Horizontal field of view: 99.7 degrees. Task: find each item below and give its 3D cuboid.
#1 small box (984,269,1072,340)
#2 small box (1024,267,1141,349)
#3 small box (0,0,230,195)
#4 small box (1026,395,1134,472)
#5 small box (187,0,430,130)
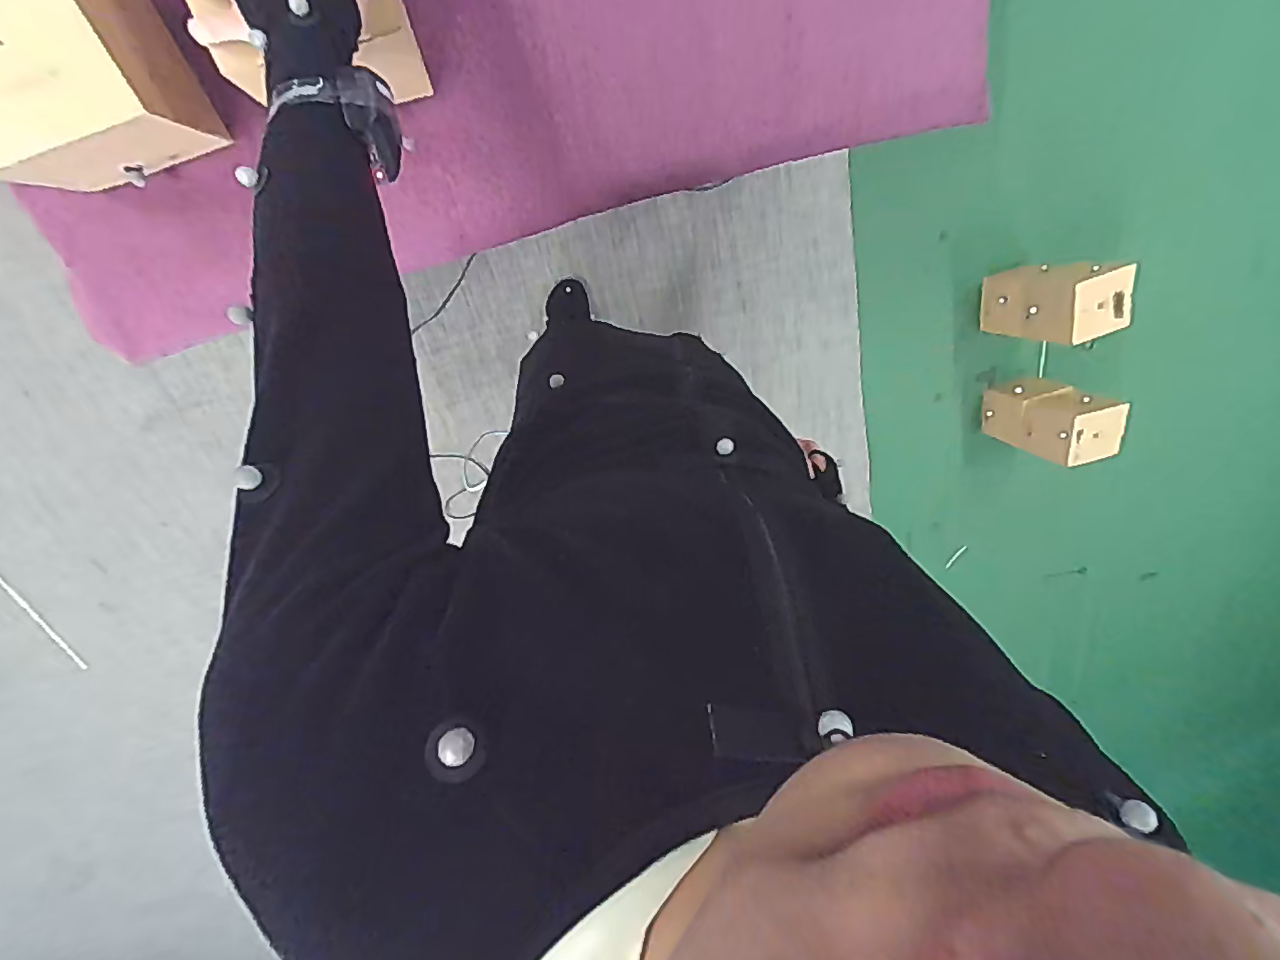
[{"bbox_3d":[1.173,-0.530,1.625,0.179,0.176,0.168,-17,115,-5],"label":"small box"},{"bbox_3d":[1.195,-0.473,1.471,0.179,0.176,0.168,-19,114,-2],"label":"small box"},{"bbox_3d":[-0.558,-0.398,0.520,0.168,0.176,0.179,-22,116,-1],"label":"small box"},{"bbox_3d":[1.322,-0.148,1.635,0.179,0.176,0.168,-14,115,-6],"label":"small box"},{"bbox_3d":[-0.326,-0.478,0.526,0.168,0.176,0.179,-18,112,-5],"label":"small box"}]
